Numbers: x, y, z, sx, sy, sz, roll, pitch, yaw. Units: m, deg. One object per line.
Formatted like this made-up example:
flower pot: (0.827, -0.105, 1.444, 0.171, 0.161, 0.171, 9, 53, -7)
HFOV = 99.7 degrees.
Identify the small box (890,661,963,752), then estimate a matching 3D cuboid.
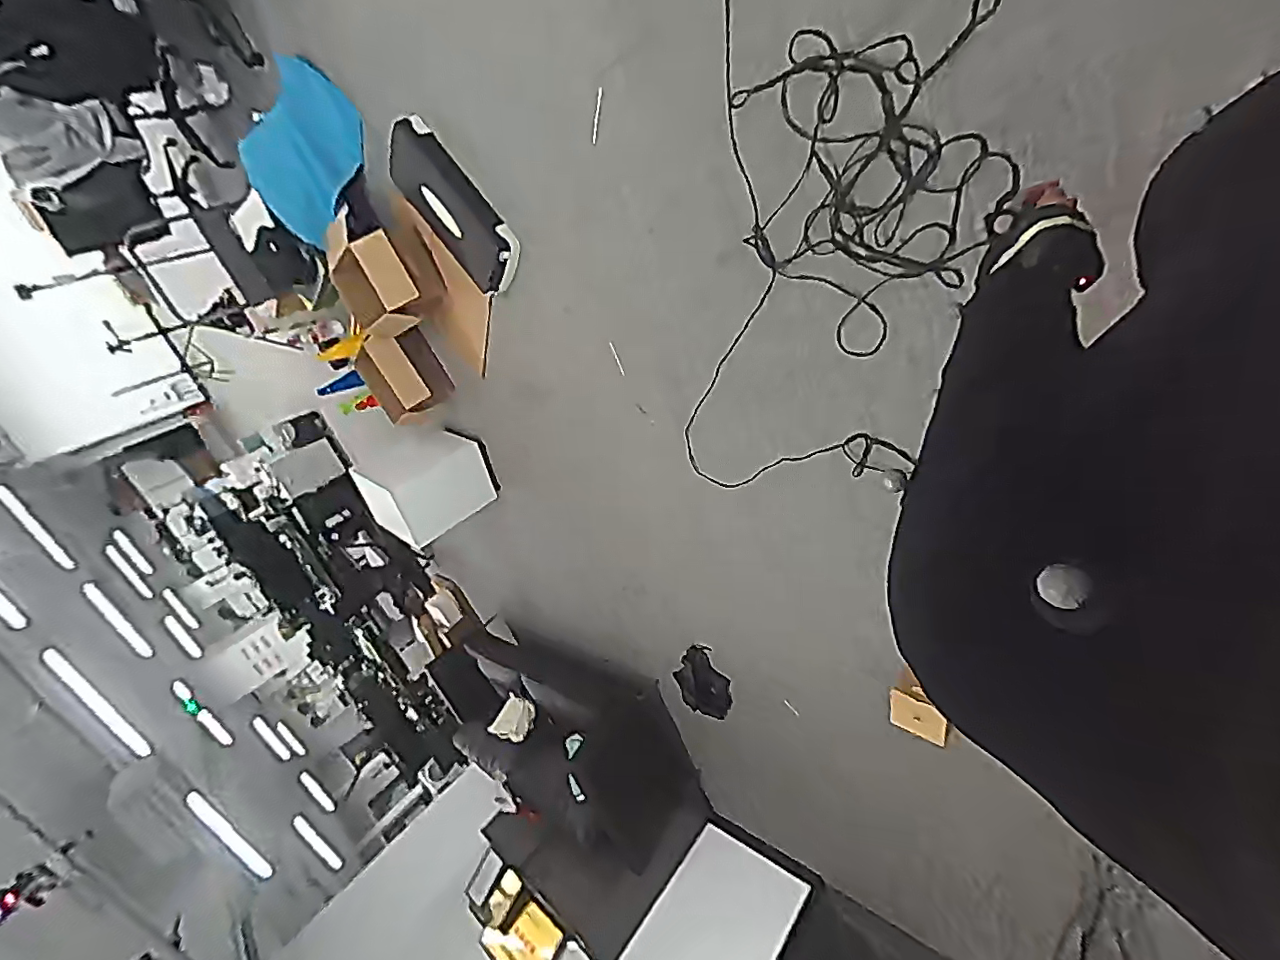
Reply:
small box: (0.924, 0.725, 1.744, 0.168, 0.176, 0.179, 15, 130, 42)
